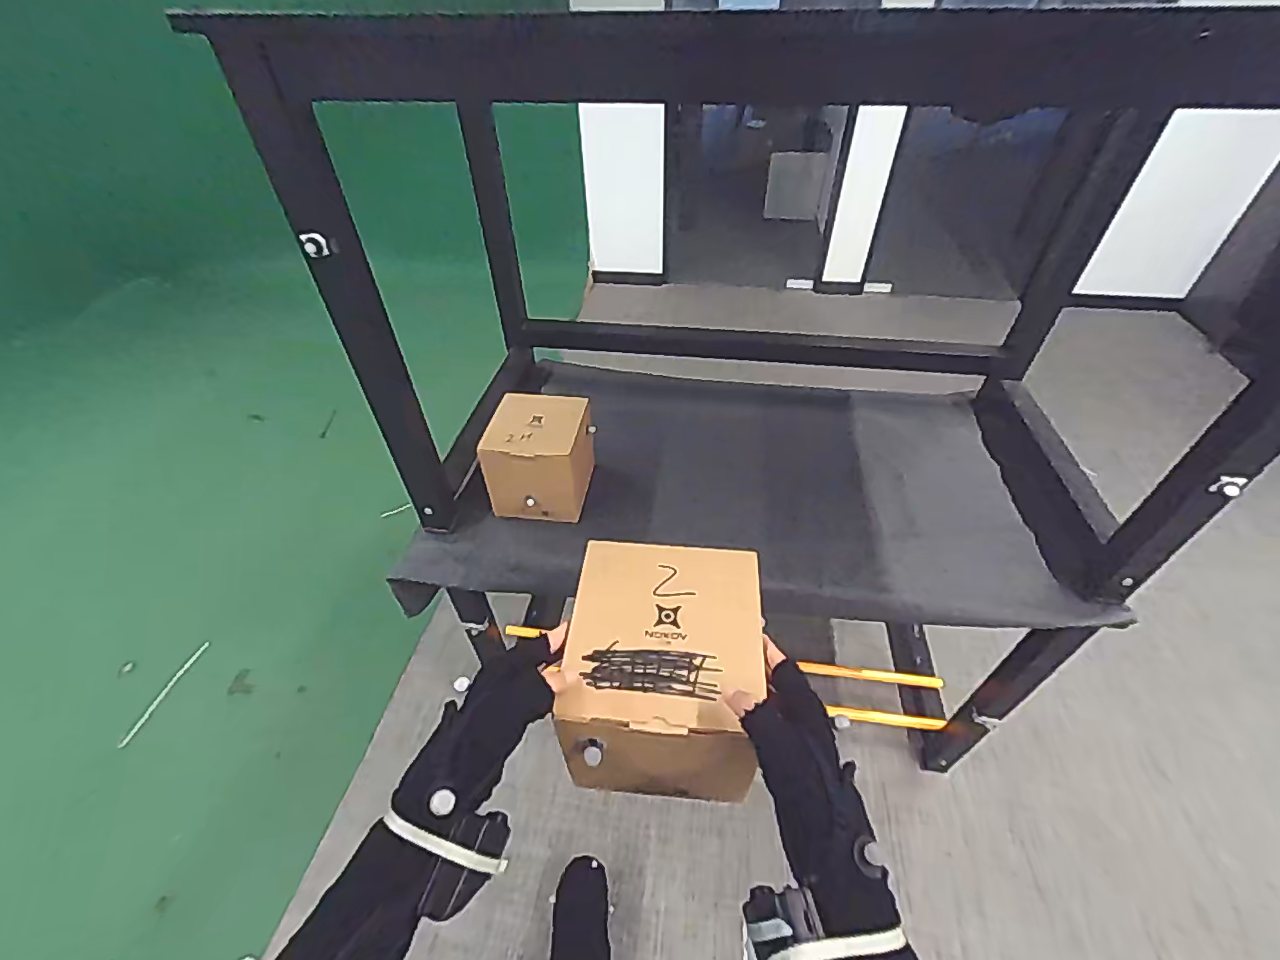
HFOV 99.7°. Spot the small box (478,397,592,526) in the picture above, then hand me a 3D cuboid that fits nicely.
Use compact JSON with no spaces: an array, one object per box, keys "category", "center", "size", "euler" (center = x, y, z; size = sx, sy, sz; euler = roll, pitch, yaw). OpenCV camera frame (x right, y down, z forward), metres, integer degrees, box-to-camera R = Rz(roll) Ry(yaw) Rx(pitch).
[{"category":"small box","center":[-0.188,-0.036,1.032],"size":[0.168,0.176,0.179],"euler":[4,43,6]}]
